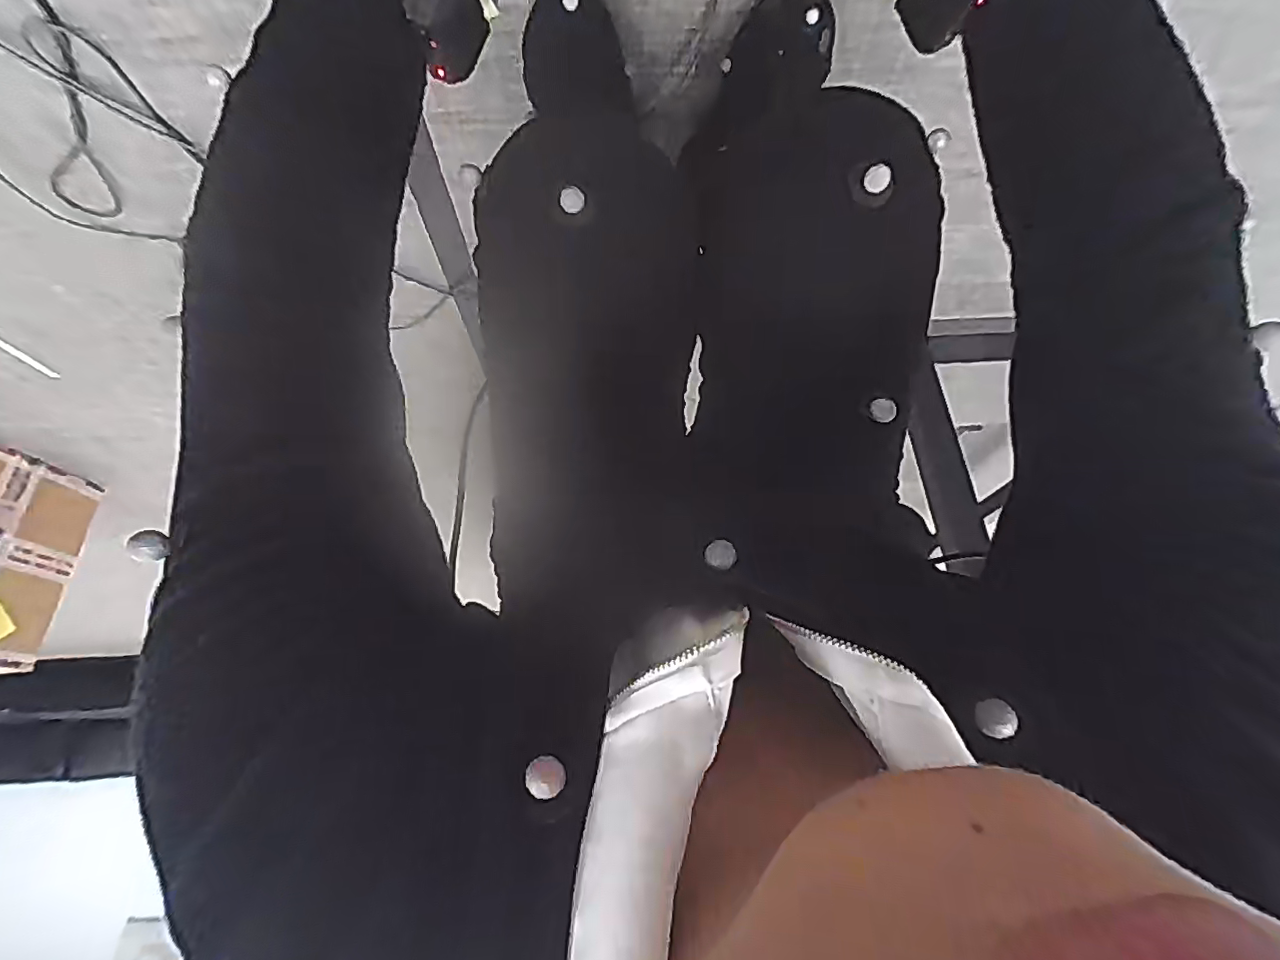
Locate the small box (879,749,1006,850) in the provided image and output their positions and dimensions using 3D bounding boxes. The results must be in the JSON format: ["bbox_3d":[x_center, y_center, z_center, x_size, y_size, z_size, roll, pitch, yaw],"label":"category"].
[{"bbox_3d":[0.640,0.684,1.173,0.168,0.176,0.179,-4,154,3],"label":"small box"}]
